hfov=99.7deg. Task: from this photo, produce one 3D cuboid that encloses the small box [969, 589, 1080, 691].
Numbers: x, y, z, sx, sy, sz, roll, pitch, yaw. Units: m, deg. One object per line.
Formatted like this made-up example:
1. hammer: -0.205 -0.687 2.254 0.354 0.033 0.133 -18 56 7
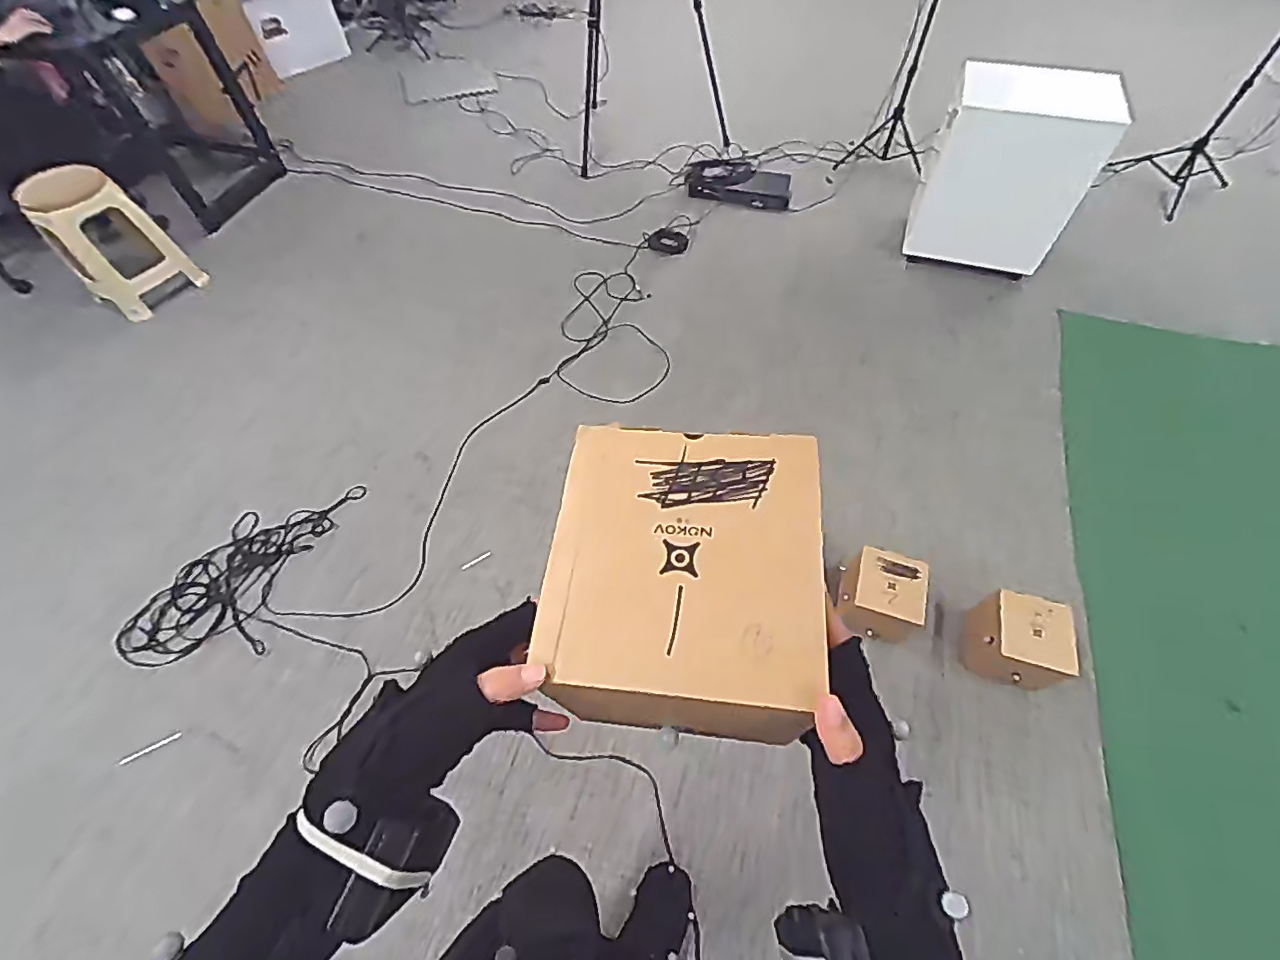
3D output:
1. small box: 0.943 0.401 1.340 0.168 0.176 0.179 15 58 11
